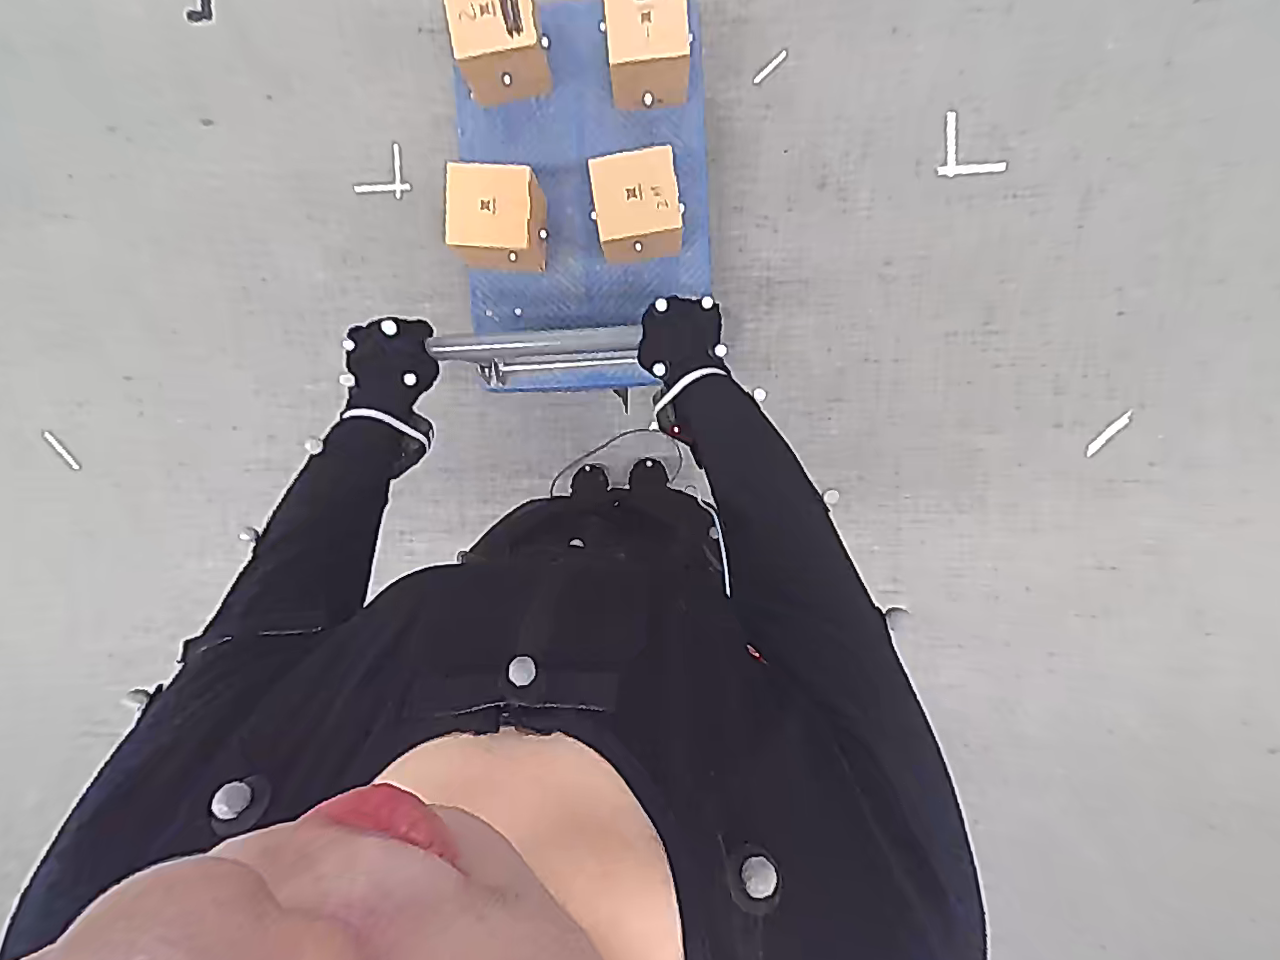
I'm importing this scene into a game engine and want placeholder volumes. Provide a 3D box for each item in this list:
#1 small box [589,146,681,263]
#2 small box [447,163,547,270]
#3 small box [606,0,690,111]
[{"bbox_3d":[-0.006,-0.594,1.190,0.179,0.176,0.168,-8,95,3],"label":"small box"},{"bbox_3d":[-0.312,-0.577,1.204,0.179,0.176,0.168,3,94,0],"label":"small box"},{"bbox_3d":[0.016,-0.938,1.160,0.168,0.176,0.179,-4,96,3],"label":"small box"}]
